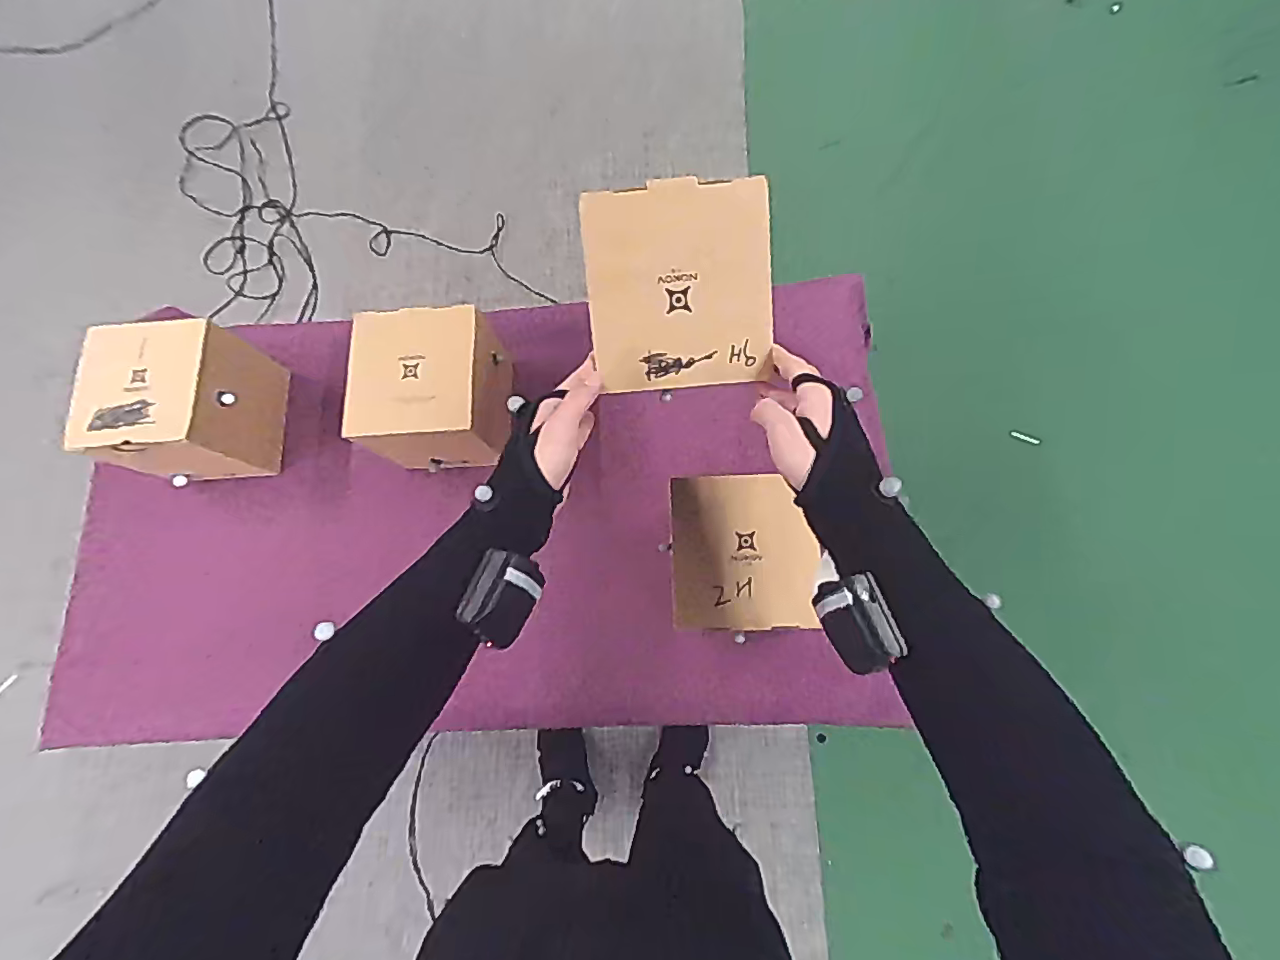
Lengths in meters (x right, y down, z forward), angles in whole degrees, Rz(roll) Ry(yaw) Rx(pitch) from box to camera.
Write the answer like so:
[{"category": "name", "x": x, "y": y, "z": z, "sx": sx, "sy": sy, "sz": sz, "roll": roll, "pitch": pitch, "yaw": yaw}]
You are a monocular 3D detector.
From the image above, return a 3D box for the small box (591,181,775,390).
[{"category": "small box", "x": 0.043, "y": -0.189, "z": 0.572, "sx": 0.168, "sy": 0.176, "sz": 0.179, "roll": -4, "pitch": 102, "yaw": 3}]

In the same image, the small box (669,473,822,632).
[{"category": "small box", "x": 0.120, "y": 0.099, "z": 0.682, "sx": 0.168, "sy": 0.176, "sz": 0.179, "roll": -1, "pitch": 74, "yaw": 4}]

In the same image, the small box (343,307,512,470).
[{"category": "small box", "x": -0.286, "y": -0.122, "z": 0.767, "sx": 0.168, "sy": 0.176, "sz": 0.179, "roll": -2, "pitch": 76, "yaw": 3}]

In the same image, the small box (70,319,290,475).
[{"category": "small box", "x": -0.644, "y": -0.108, "z": 0.782, "sx": 0.168, "sy": 0.176, "sz": 0.179, "roll": -3, "pitch": 75, "yaw": 2}]
